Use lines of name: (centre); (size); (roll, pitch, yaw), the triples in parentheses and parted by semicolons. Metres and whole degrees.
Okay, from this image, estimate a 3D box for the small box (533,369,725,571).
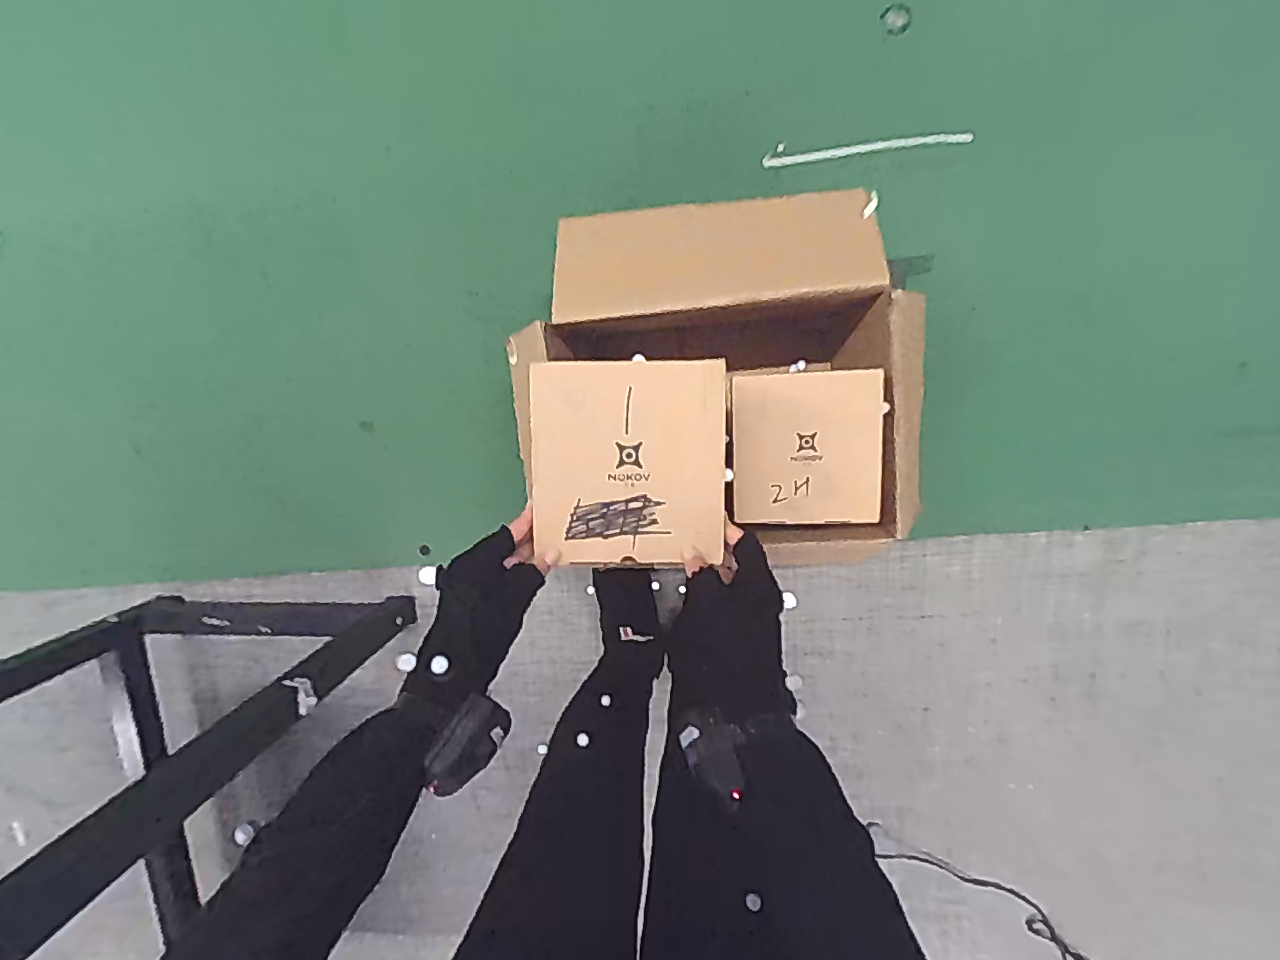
small box: (-0.006, -0.015, 0.544); (0.168, 0.176, 0.179); (0, 95, 2)
